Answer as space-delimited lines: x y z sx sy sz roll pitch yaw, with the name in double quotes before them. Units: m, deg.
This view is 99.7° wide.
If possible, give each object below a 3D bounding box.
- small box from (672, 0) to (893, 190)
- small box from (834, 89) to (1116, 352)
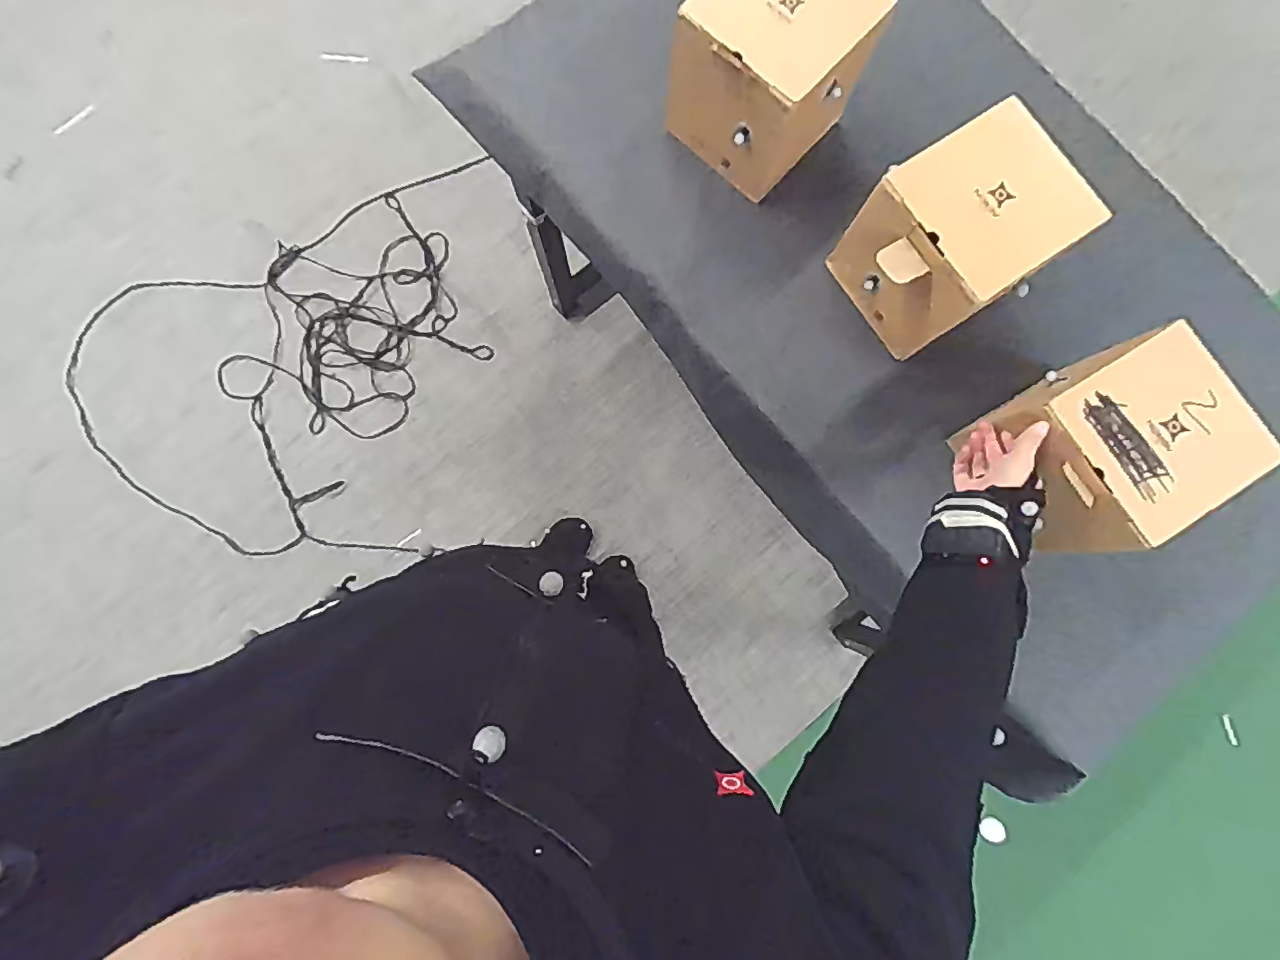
"small box" 0.152 -0.493 0.639 0.168 0.176 0.179 42 83 2
"small box" 0.359 -0.278 0.617 0.179 0.176 0.168 -34 85 -5
